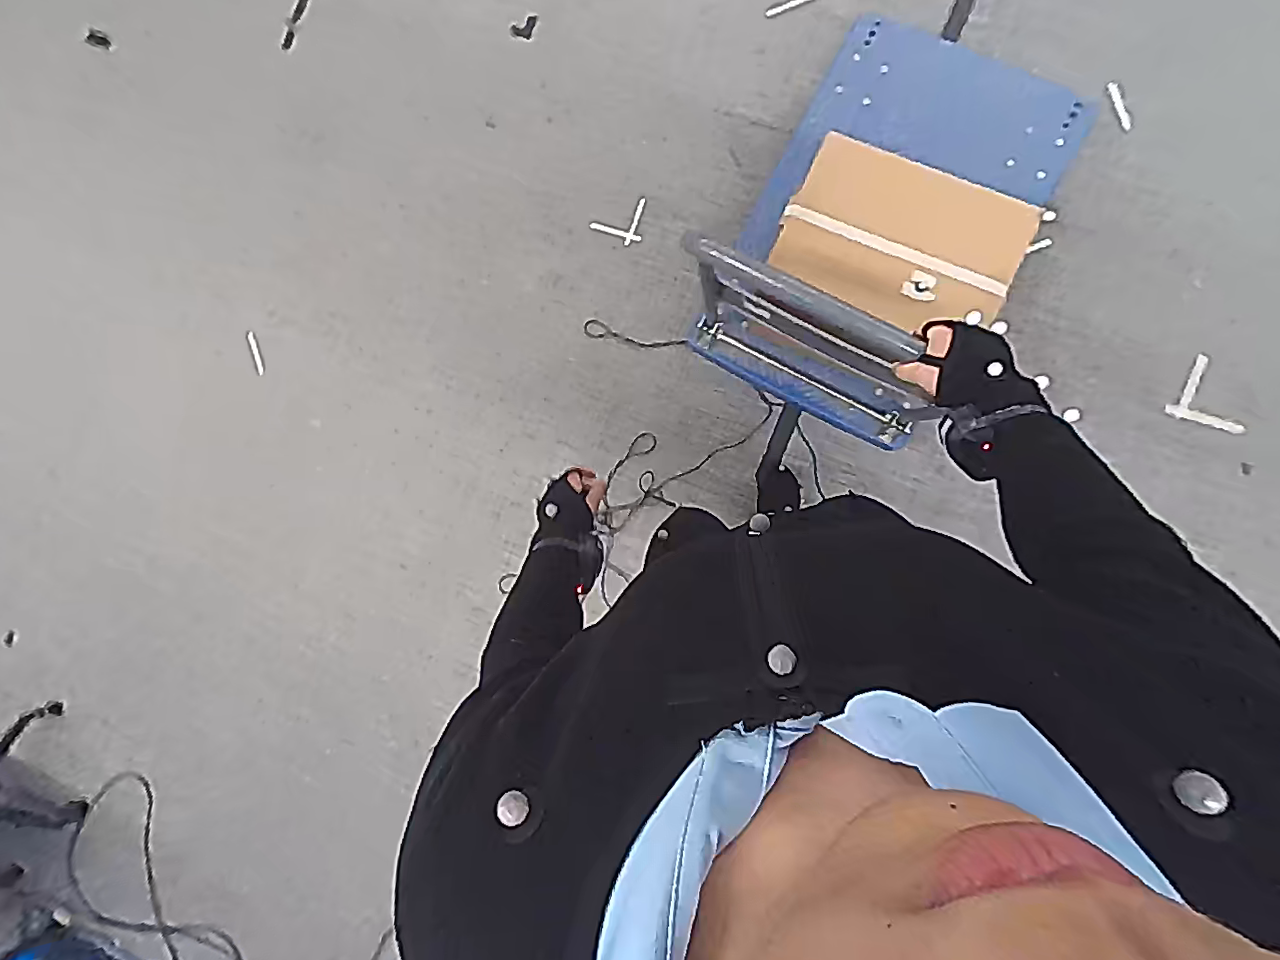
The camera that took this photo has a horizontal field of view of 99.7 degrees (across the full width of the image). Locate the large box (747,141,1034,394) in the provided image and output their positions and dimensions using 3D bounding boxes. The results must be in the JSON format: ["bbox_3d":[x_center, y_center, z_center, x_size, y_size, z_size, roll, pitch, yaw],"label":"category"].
[{"bbox_3d":[0.476,-0.414,1.133,0.408,0.320,0.320,25,95,7],"label":"large box"}]
